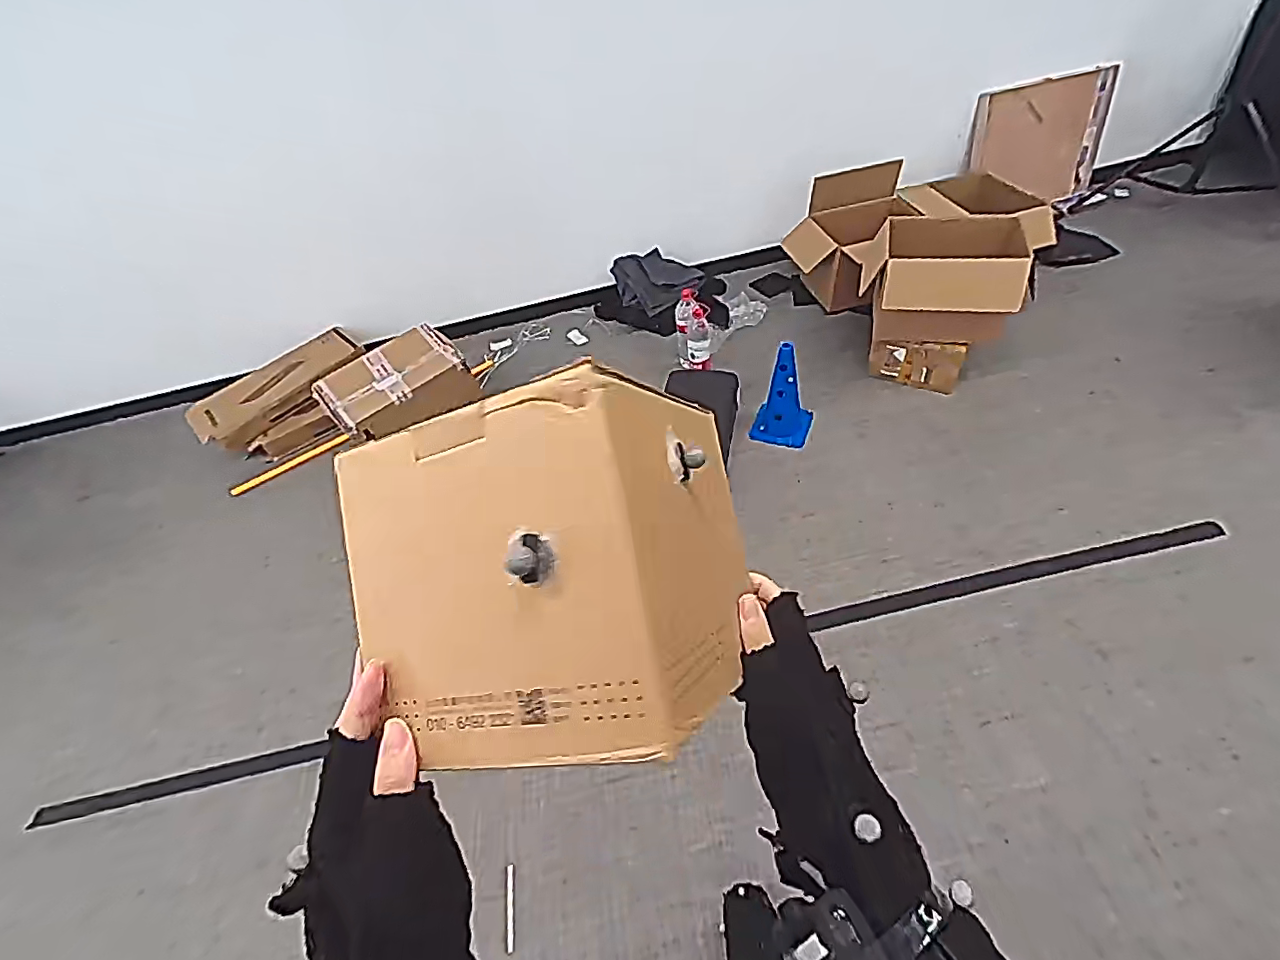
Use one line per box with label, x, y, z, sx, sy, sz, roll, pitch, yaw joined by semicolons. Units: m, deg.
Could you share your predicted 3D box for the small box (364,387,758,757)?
small box;-0.036;0.058;0.344;0.168;0.179;0.176;-15;83;26
